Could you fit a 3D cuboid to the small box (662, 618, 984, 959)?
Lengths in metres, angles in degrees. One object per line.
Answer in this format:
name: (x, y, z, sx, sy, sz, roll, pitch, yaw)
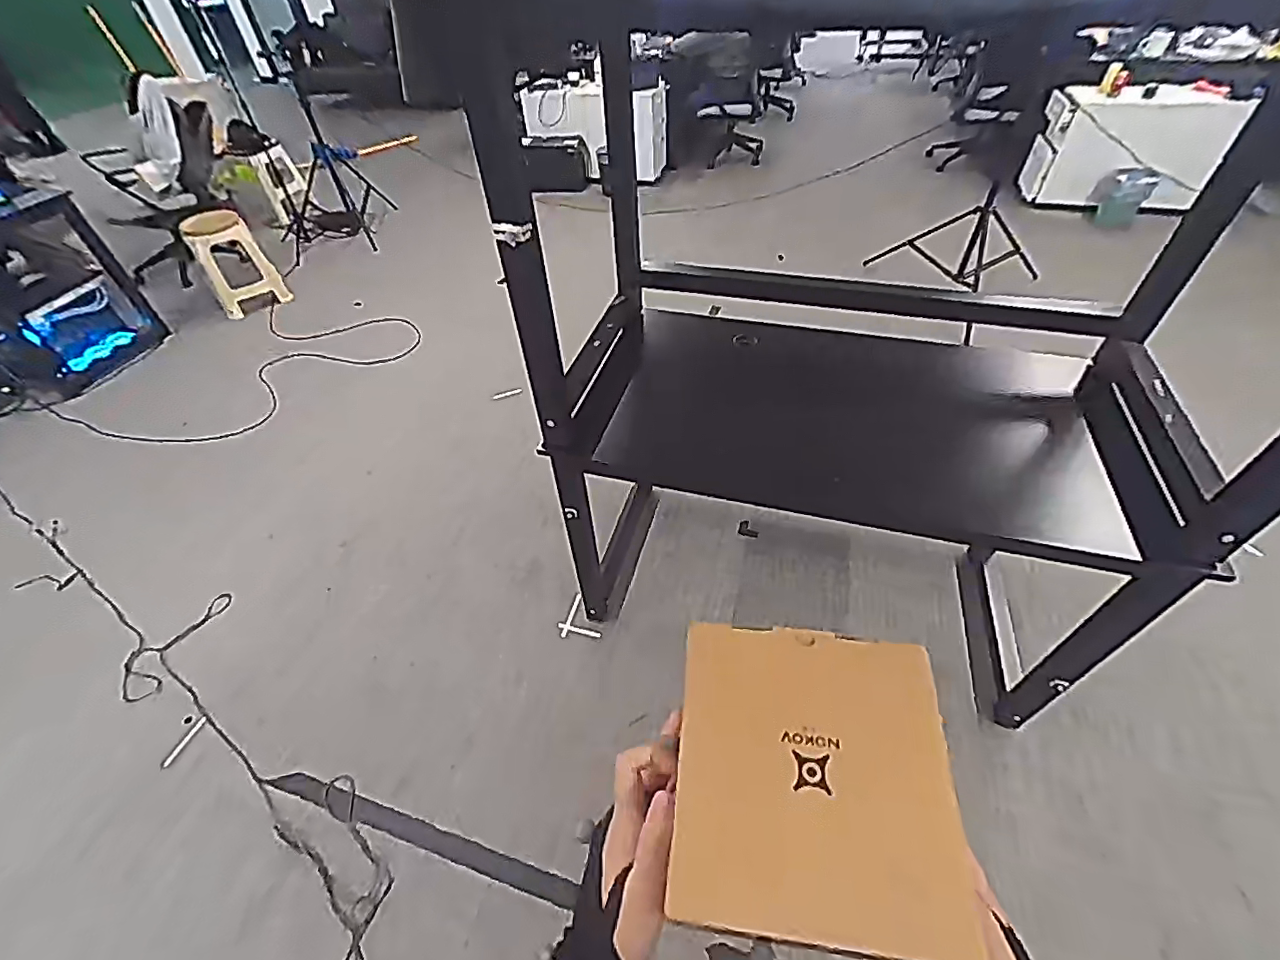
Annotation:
small box: (0.110, 0.225, 0.393, 0.168, 0.176, 0.179, 4, 49, 8)
